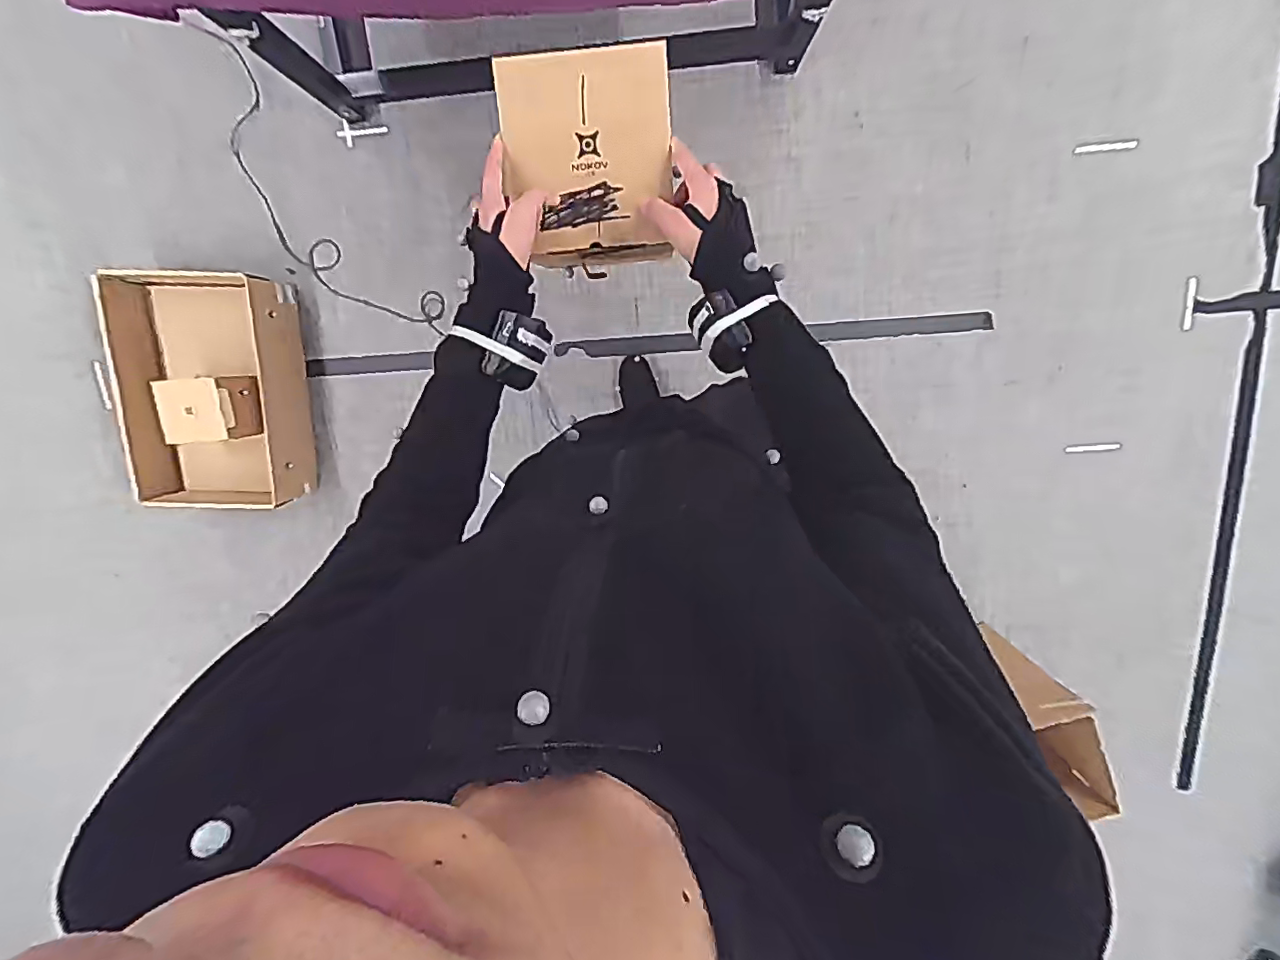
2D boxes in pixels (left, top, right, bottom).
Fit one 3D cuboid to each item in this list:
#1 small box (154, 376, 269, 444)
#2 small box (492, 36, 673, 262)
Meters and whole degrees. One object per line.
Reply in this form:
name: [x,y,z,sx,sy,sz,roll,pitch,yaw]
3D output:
small box: [-1.156,-0.196,1.480,0.179,0.176,0.168,-4,101,2]
small box: [-0.049,-0.343,0.598,0.168,0.176,0.179,-4,106,2]
